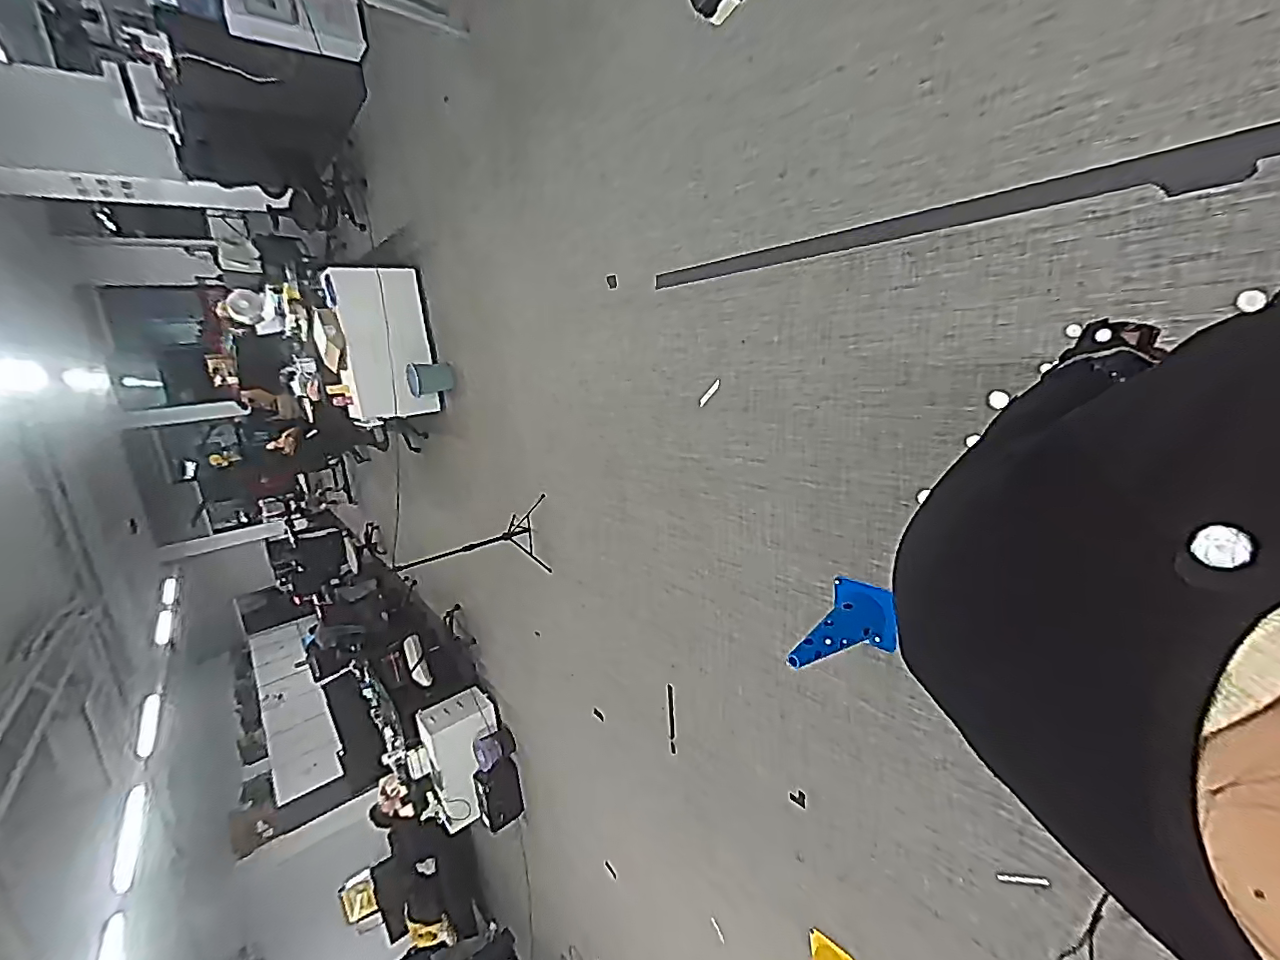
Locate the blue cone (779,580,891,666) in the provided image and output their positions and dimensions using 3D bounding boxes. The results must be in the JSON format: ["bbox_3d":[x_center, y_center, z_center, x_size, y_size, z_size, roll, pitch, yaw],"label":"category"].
[{"bbox_3d":[0.540,0.444,1.548,0.192,0.380,0.193,15,114,51],"label":"blue cone"}]
